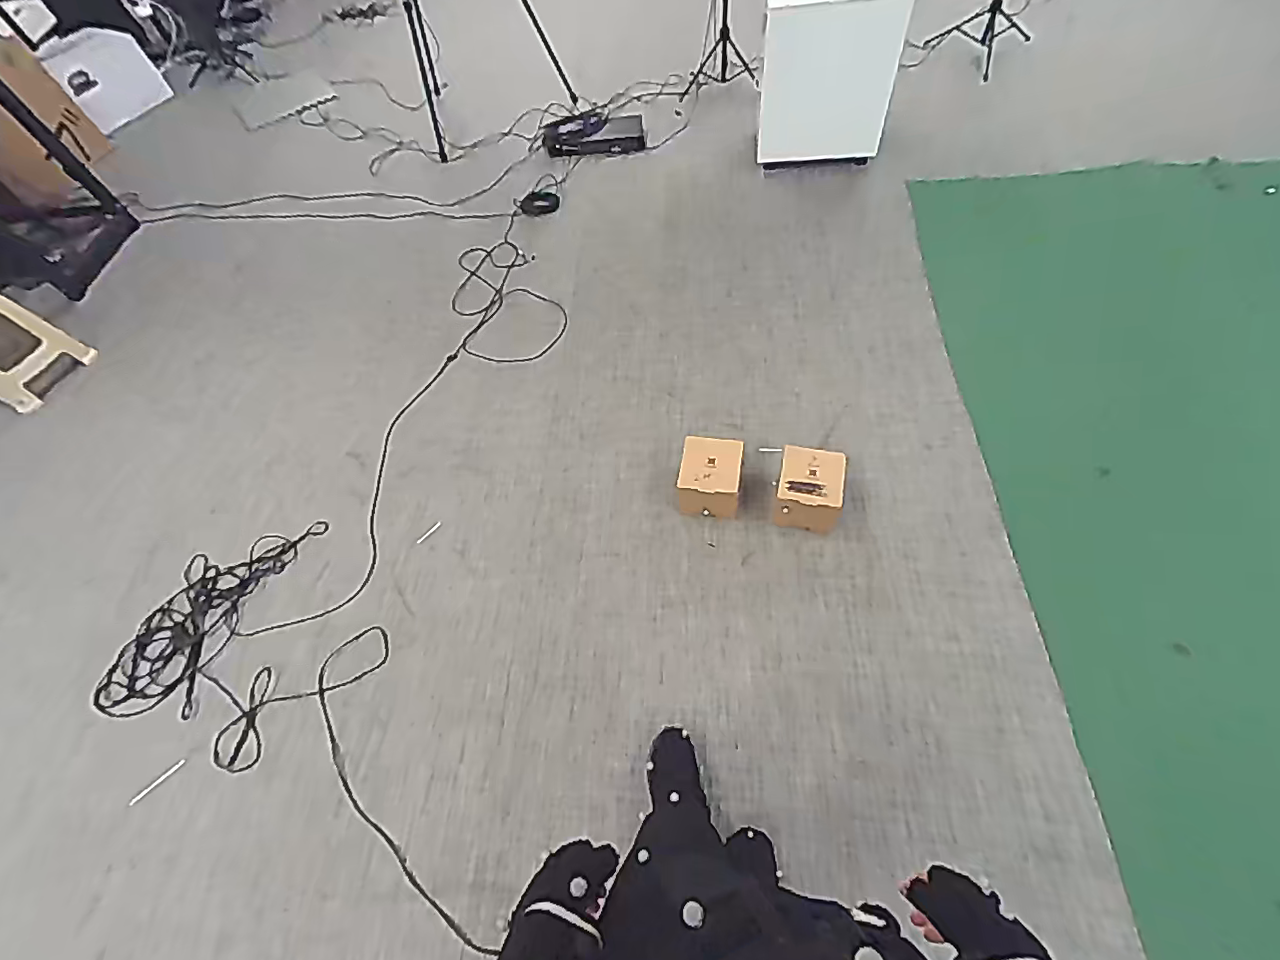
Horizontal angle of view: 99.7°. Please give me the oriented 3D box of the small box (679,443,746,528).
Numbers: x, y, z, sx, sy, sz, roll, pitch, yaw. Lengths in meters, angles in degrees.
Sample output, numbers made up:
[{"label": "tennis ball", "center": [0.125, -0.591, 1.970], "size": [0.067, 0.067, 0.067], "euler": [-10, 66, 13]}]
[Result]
[{"label": "small box", "center": [0.212, 0.018, 1.568], "size": [0.168, 0.176, 0.179], "euler": [6, 60, 12]}]
